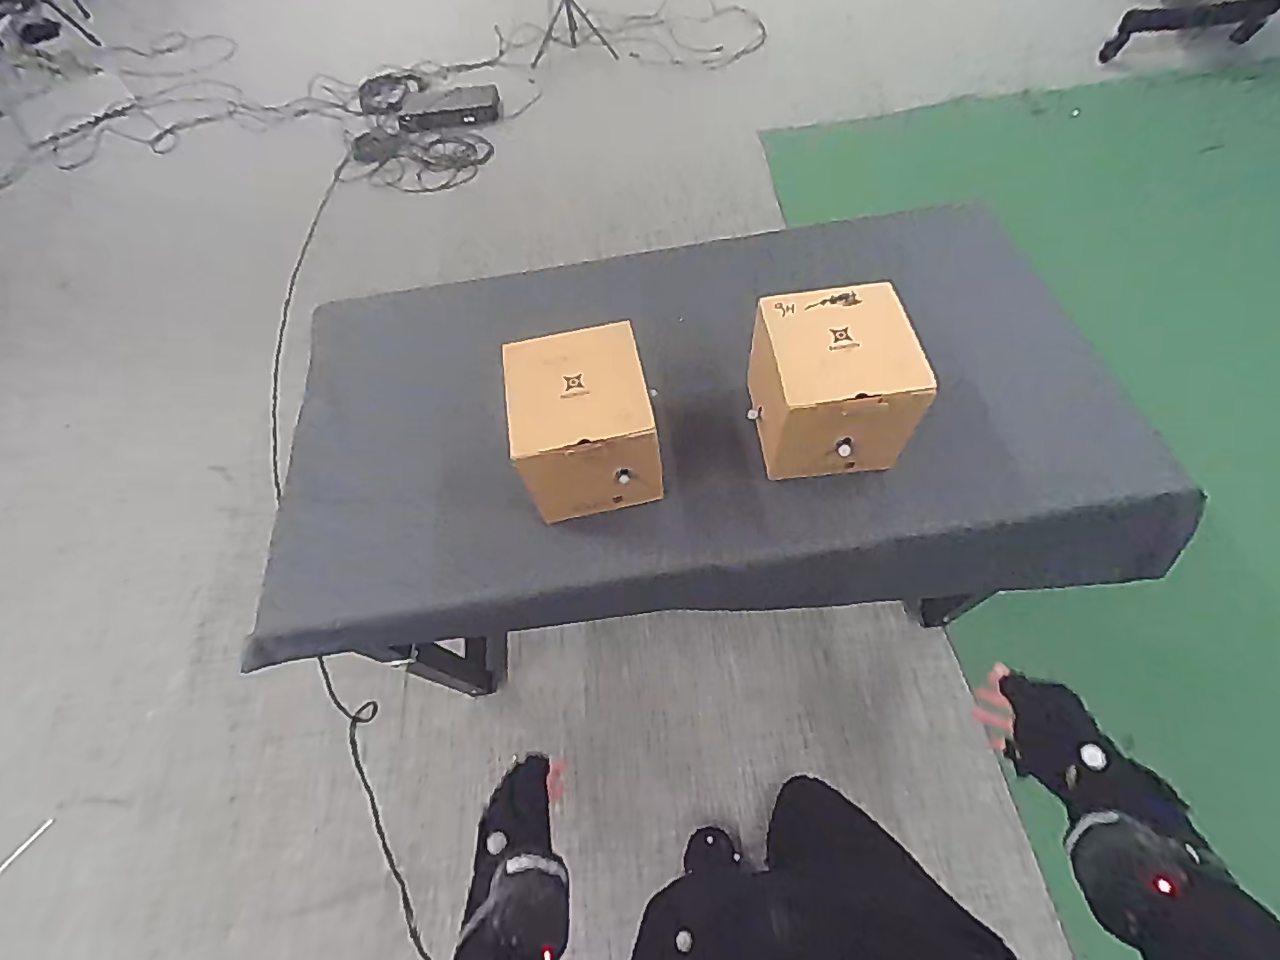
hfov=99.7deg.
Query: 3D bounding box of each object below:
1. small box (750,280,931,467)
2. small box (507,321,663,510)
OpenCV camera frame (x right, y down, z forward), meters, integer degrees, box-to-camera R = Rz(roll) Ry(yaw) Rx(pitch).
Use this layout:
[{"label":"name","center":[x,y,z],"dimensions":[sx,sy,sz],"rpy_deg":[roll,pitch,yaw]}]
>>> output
[{"label":"small box","center":[0.245,-0.128,0.710],"dimensions":[0.168,0.176,0.179],"rpy_deg":[-7,61,2]},{"label":"small box","center":[-0.067,-0.074,0.713],"dimensions":[0.168,0.176,0.179],"rpy_deg":[-12,59,-3]}]
